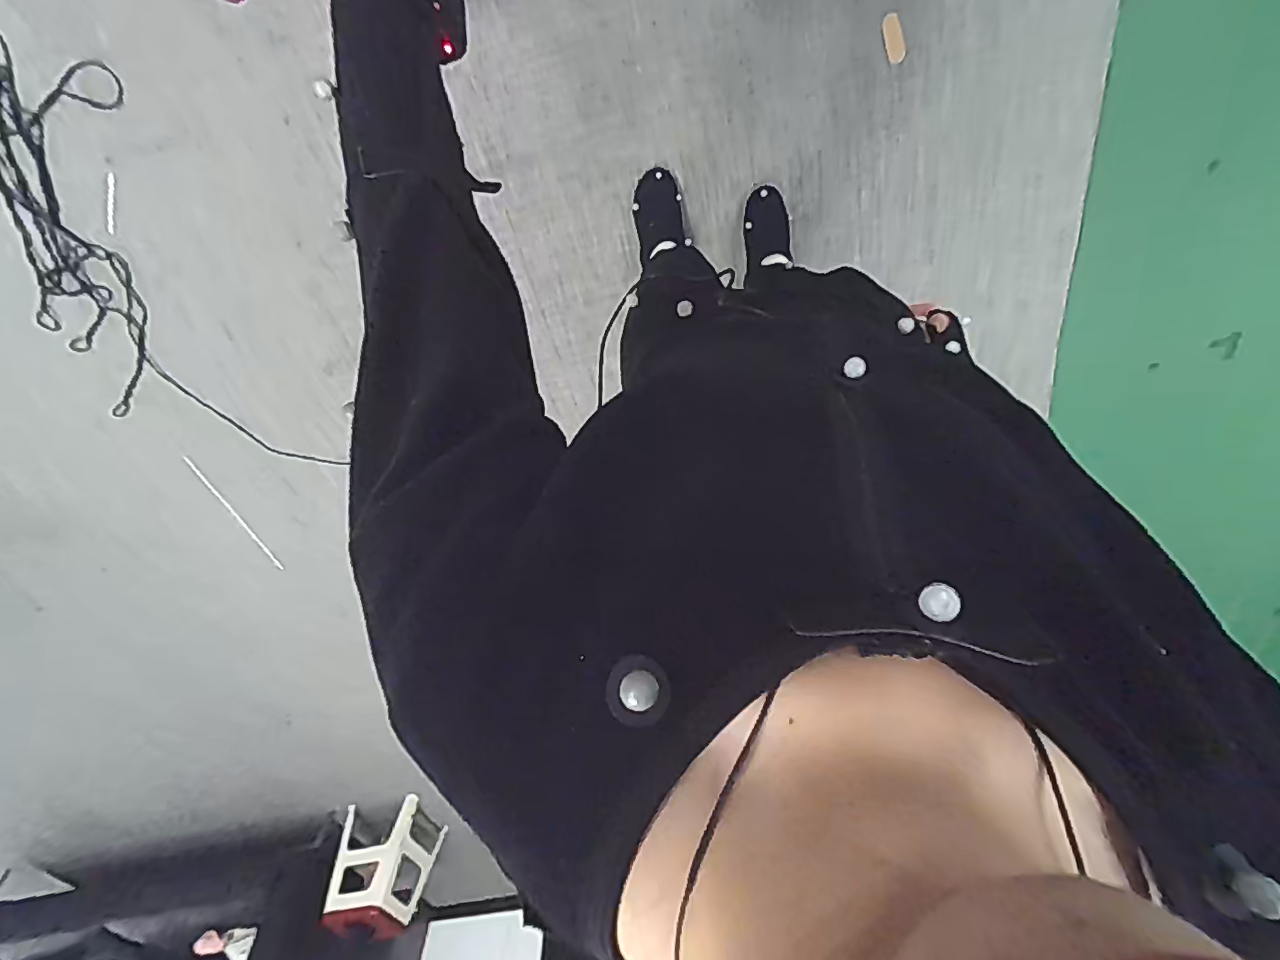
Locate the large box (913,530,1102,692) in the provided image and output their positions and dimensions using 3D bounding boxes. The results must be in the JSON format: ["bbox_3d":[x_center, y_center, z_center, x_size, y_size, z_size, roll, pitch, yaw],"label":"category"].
[{"bbox_3d":[1.207,0.433,1.806,0.408,0.320,0.320,-25,120,13],"label":"large box"}]
